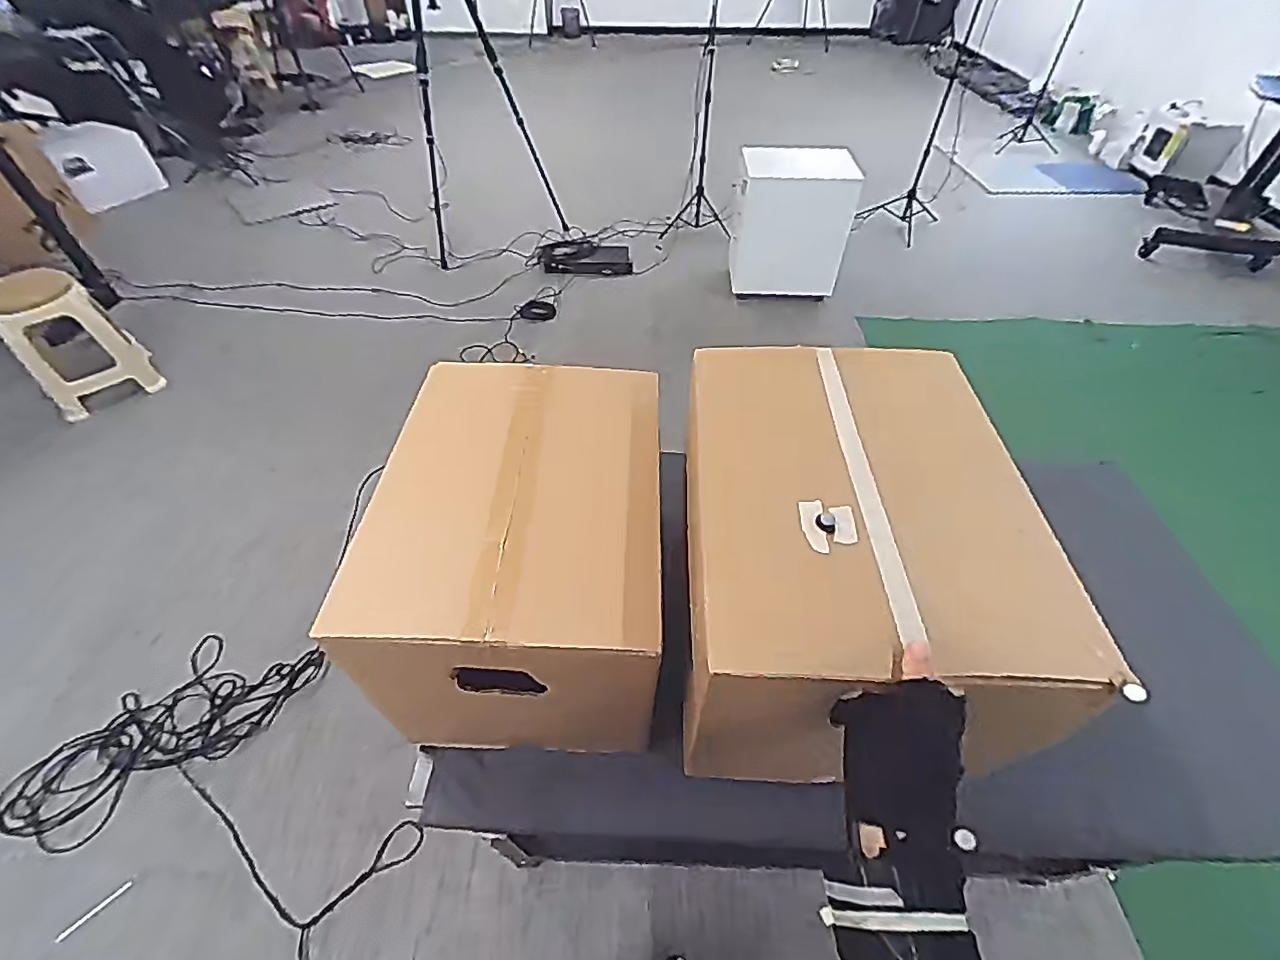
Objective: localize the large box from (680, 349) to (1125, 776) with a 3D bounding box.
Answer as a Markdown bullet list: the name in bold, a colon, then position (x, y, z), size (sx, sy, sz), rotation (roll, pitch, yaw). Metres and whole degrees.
- **large box**: position (0.212, 0.092, 0.642), size (0.320, 0.320, 0.408), rotation (0, 50, 3)
